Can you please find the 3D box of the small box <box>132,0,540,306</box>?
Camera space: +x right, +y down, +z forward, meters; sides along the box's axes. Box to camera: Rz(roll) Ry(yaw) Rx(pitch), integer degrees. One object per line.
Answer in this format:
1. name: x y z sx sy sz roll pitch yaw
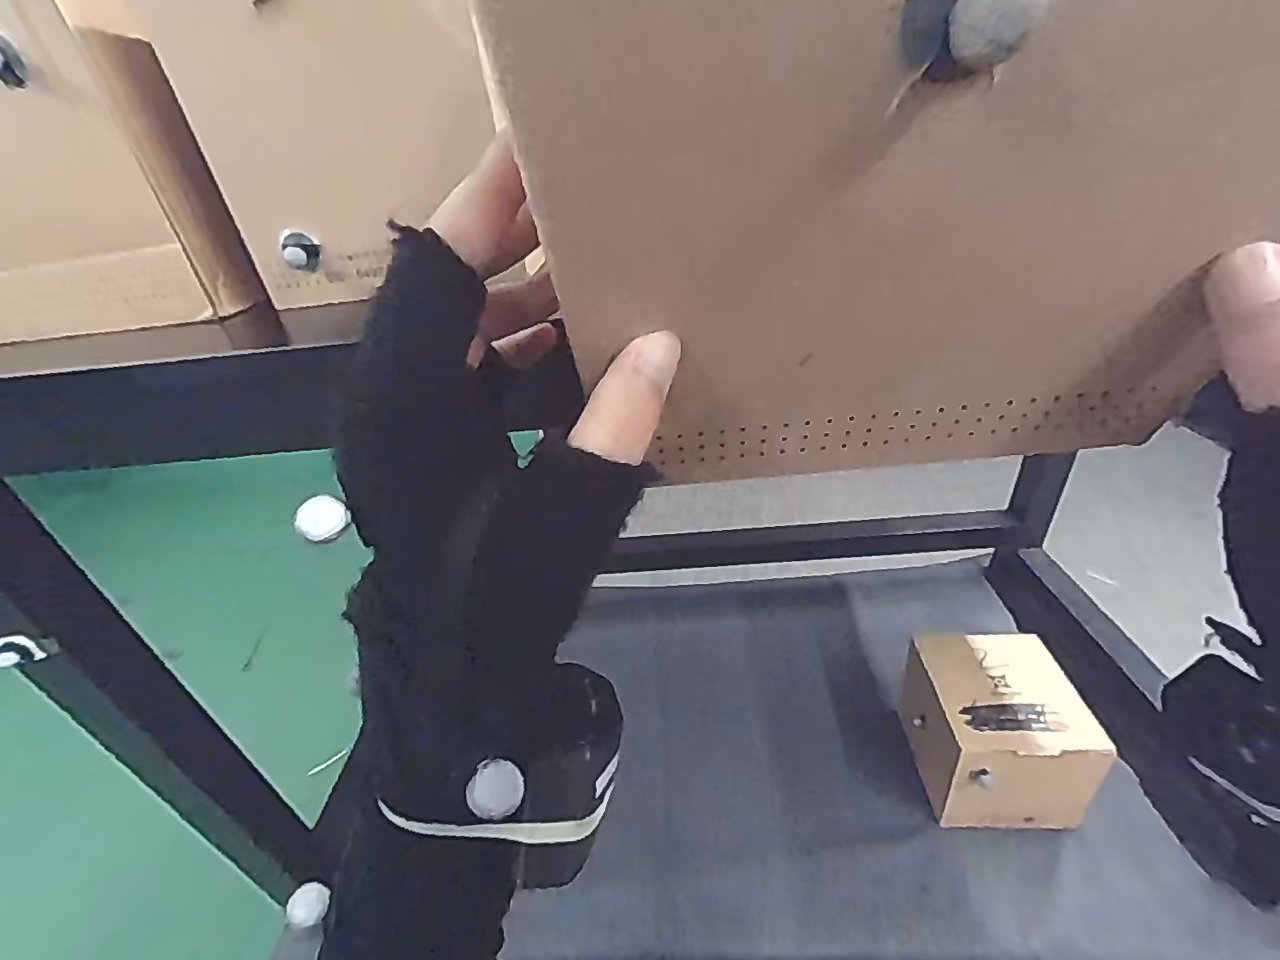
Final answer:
1. small box: -0.159 -0.223 0.370 0.168 0.176 0.179 -5 31 3
